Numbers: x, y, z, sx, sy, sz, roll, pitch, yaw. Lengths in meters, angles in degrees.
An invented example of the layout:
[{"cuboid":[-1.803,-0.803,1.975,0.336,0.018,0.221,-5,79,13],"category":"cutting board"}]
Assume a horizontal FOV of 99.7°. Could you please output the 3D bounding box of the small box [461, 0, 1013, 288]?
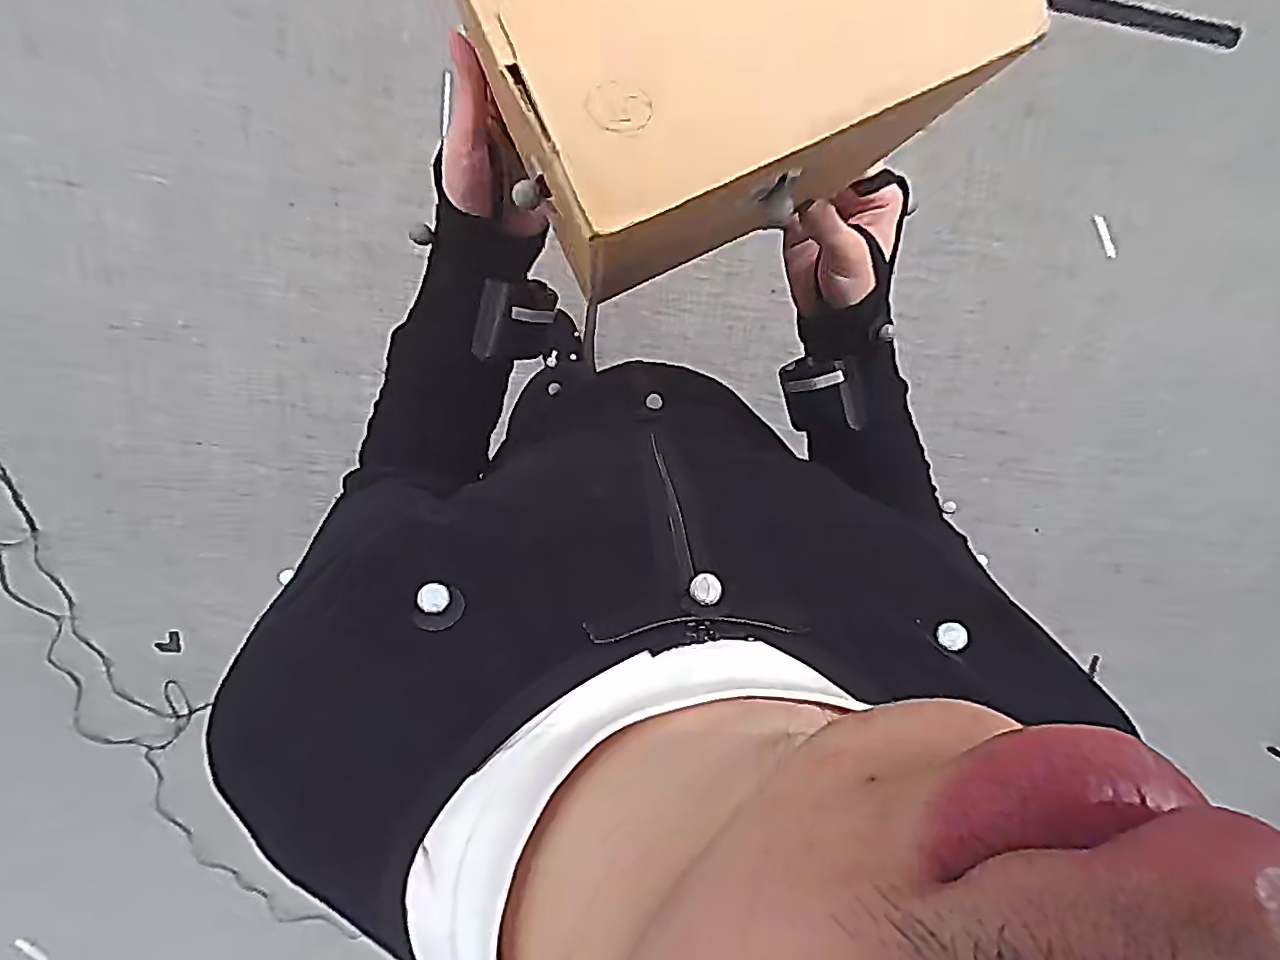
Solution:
[{"cuboid":[0.018,-0.211,0.258,0.179,0.176,0.168,-26,102,-1],"category":"small box"}]
